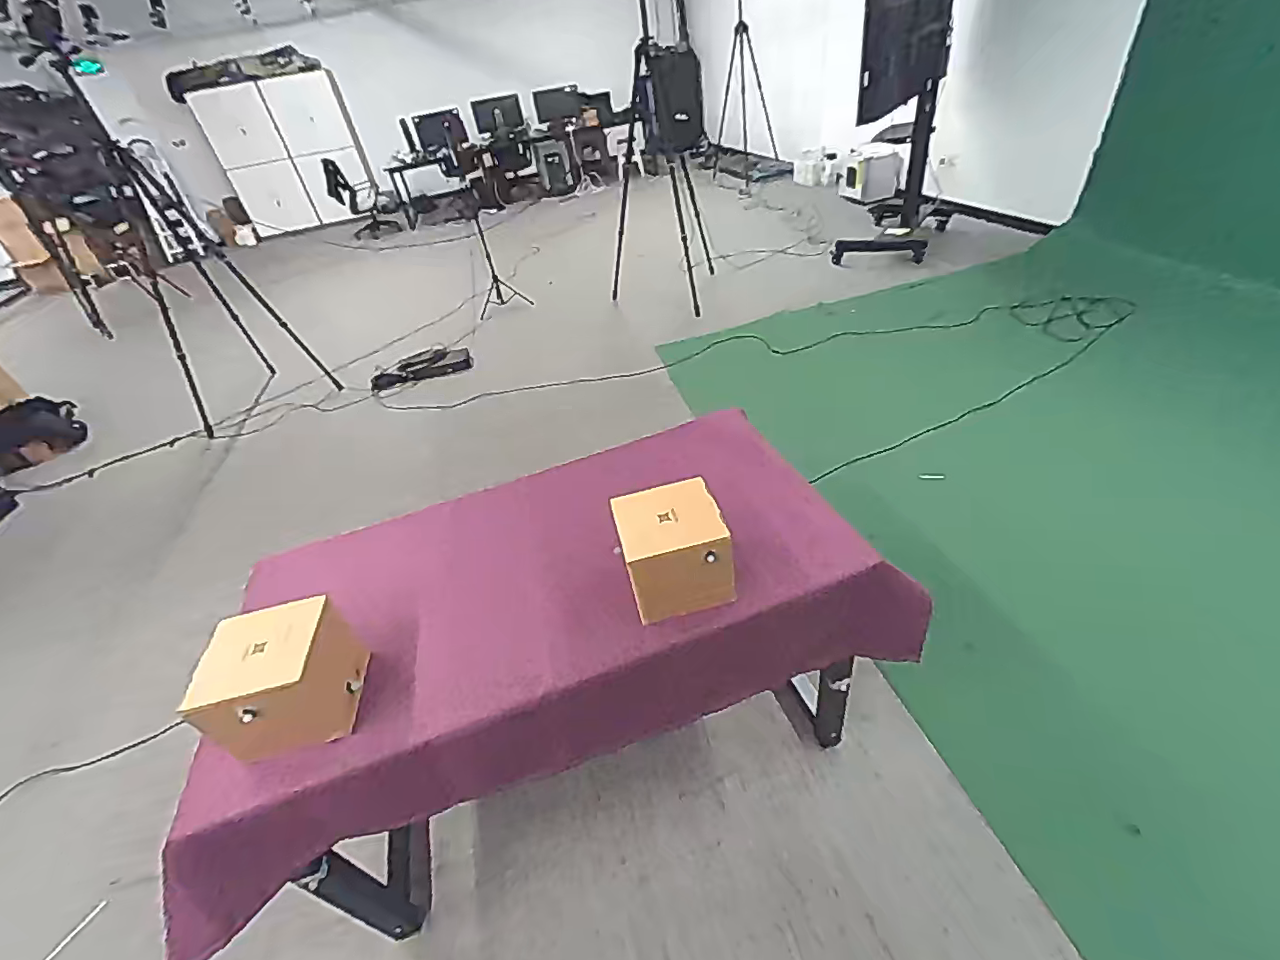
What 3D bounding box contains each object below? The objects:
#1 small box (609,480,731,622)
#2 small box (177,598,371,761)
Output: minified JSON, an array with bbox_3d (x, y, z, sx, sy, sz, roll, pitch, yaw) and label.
[{"bbox_3d":[0.055,0.129,0.970,0.179,0.176,0.168,-14,38,-4],"label":"small box"},{"bbox_3d":[-0.574,0.325,0.878,0.179,0.176,0.168,-13,39,-4],"label":"small box"}]
